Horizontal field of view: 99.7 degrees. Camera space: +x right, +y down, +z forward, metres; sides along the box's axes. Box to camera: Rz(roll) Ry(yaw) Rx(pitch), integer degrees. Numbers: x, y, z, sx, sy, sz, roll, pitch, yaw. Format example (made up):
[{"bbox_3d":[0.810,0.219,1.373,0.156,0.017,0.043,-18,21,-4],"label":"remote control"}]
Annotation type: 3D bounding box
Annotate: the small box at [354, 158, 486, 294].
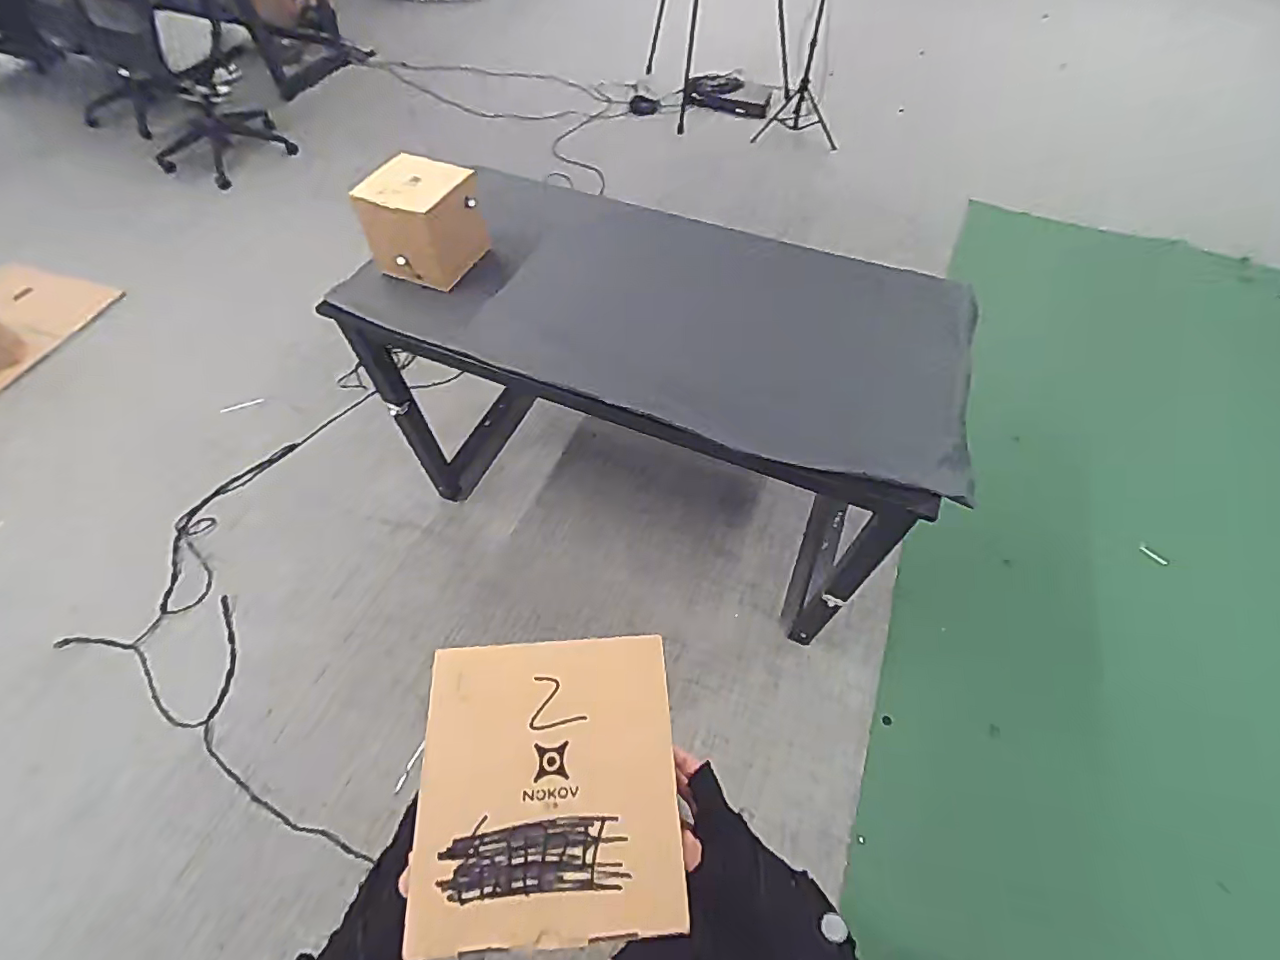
[{"bbox_3d":[-0.430,-0.512,1.094,0.168,0.176,0.179,19,56,10],"label":"small box"}]
